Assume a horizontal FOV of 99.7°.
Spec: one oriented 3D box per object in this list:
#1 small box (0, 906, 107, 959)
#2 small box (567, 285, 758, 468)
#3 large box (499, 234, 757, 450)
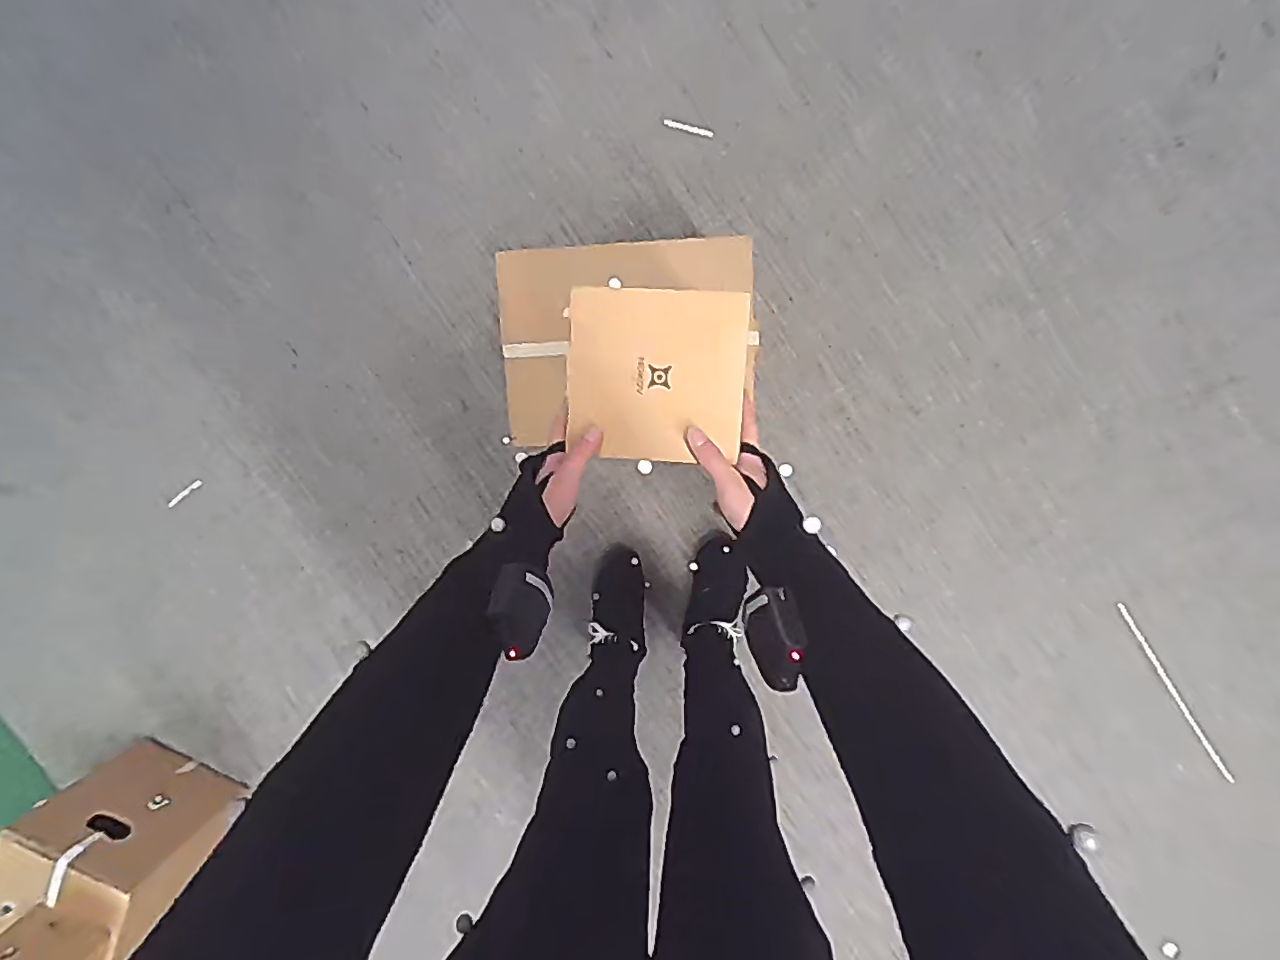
[{"bbox_3d":[-1.216,1.000,1.062,0.168,0.176,0.179,25,101,1],"label":"small box"},{"bbox_3d":[0.024,-0.106,0.590,0.179,0.176,0.168,3,96,4],"label":"small box"},{"bbox_3d":[-0.002,-0.233,0.998,0.408,0.320,0.320,-2,98,7],"label":"large box"}]
